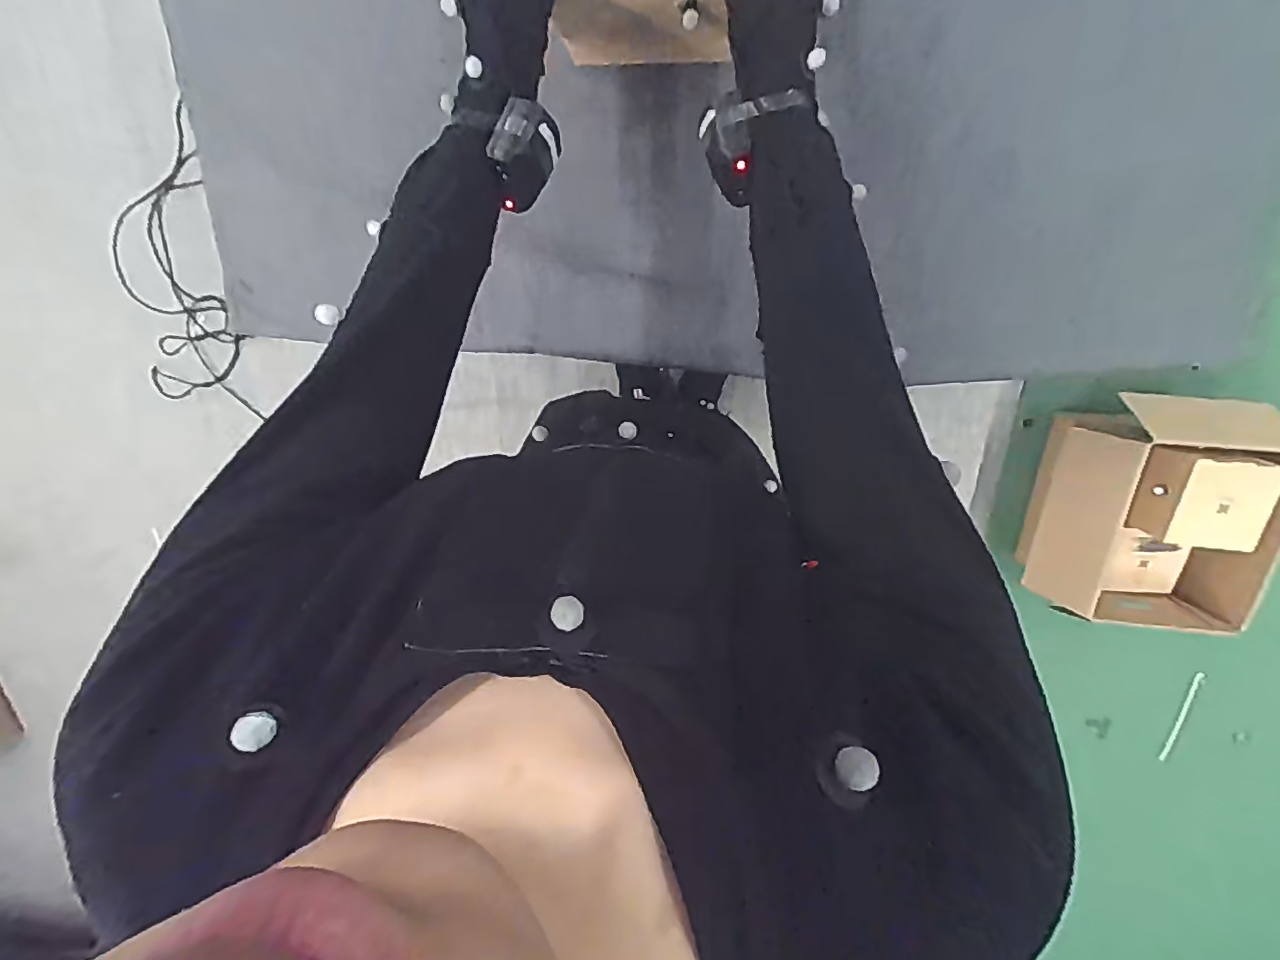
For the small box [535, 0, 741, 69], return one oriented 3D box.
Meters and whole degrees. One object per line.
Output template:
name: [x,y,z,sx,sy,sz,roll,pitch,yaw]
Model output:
small box: [0.004,-0.493,0.478,0.179,0.176,0.168,3,109,6]
